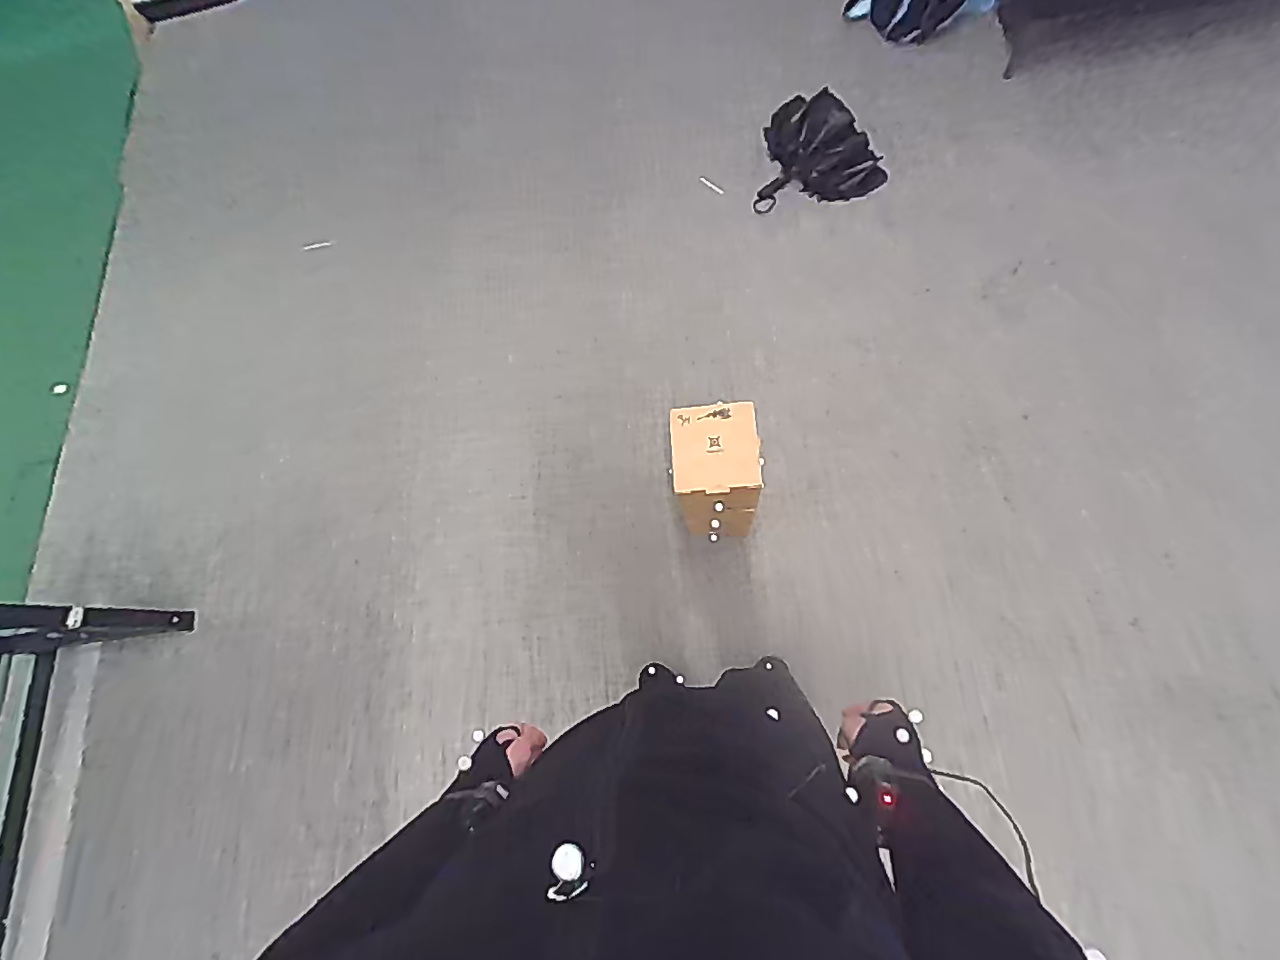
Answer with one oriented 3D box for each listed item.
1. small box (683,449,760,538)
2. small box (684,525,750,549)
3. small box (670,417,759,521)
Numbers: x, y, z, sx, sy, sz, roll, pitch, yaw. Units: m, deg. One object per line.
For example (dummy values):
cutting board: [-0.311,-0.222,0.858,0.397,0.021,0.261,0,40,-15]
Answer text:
small box: [0.187,0.029,1.269,0.168,0.176,0.179,5,74,10]
small box: [0.208,0.077,1.425,0.168,0.176,0.179,3,75,10]
small box: [0.154,-0.014,1.115,0.168,0.176,0.179,-4,73,8]
